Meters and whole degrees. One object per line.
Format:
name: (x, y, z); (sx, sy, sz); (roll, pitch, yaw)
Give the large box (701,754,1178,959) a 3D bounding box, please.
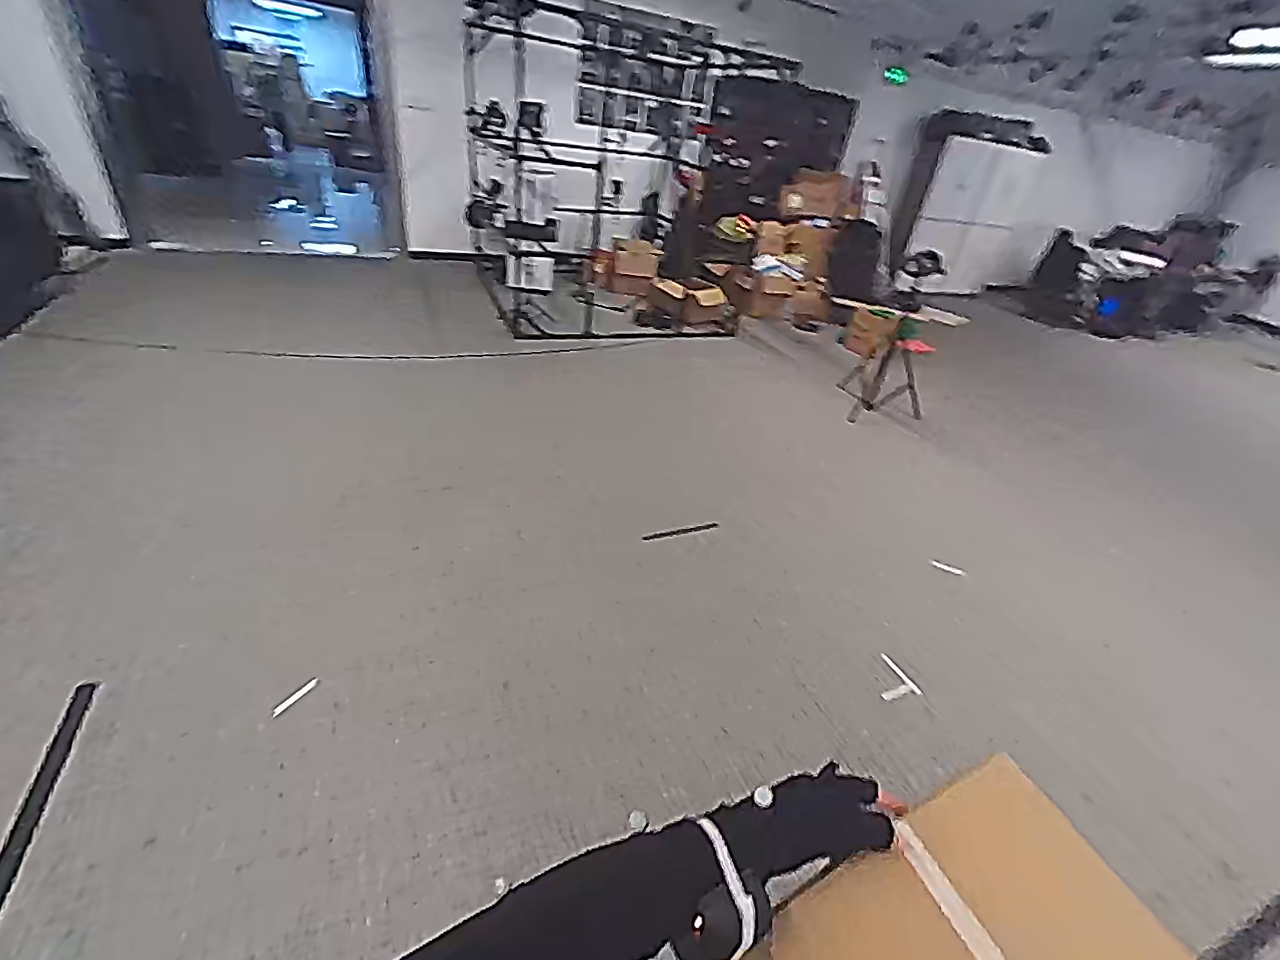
large box: (0.307, 0.554, 0.491); (0.320, 0.320, 0.408); (-17, 50, -21)
